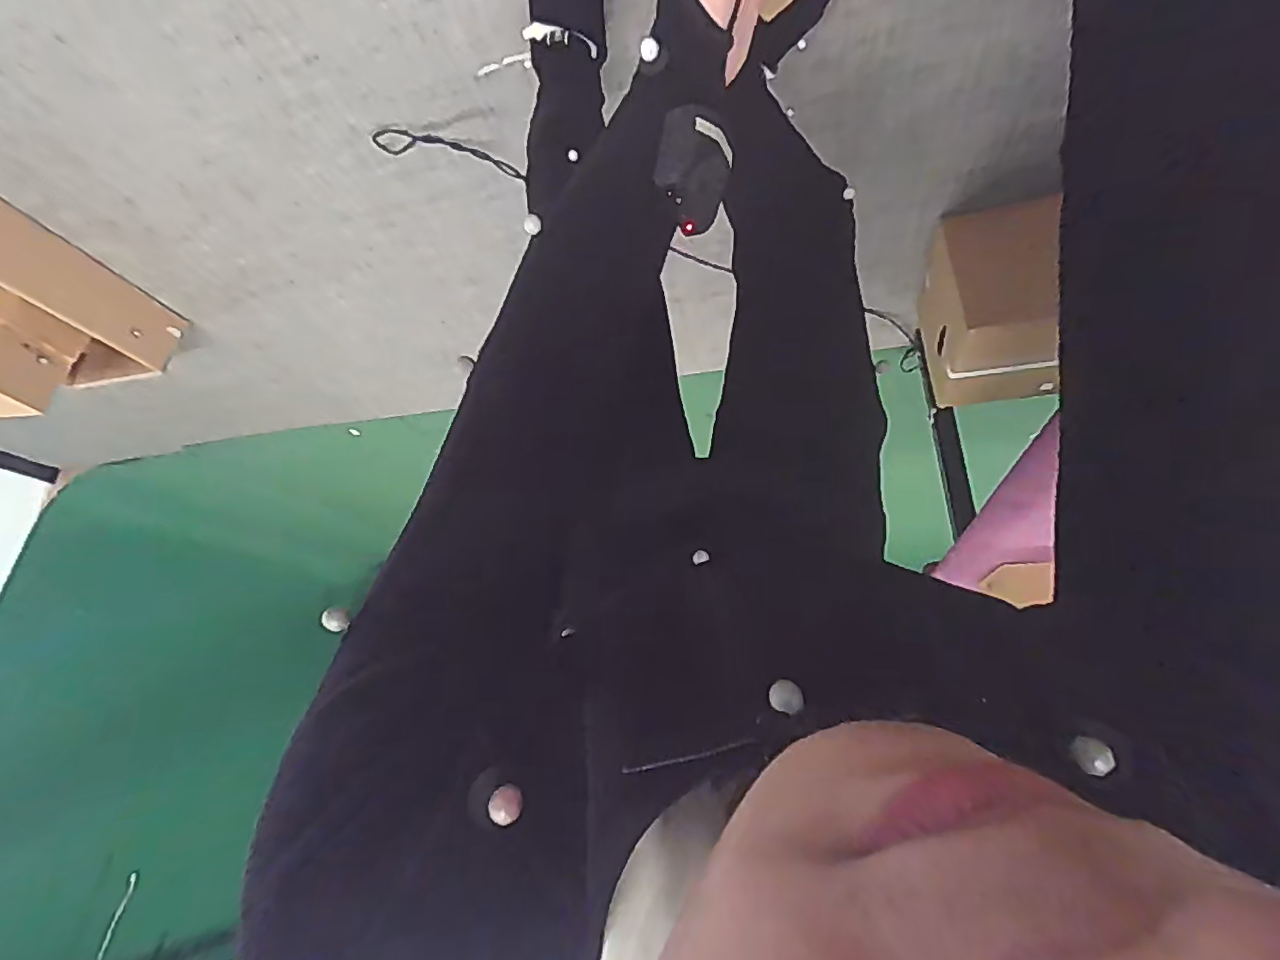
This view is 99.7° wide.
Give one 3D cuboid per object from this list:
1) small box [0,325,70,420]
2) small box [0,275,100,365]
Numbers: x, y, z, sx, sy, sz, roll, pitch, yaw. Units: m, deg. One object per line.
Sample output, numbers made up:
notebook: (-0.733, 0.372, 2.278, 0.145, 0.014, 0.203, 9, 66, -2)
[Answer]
small box: (-1.613, -0.268, 1.354, 0.179, 0.176, 0.168, -2, 154, 8)
small box: (-1.601, -0.414, 1.426, 0.179, 0.176, 0.168, -4, 152, 11)
